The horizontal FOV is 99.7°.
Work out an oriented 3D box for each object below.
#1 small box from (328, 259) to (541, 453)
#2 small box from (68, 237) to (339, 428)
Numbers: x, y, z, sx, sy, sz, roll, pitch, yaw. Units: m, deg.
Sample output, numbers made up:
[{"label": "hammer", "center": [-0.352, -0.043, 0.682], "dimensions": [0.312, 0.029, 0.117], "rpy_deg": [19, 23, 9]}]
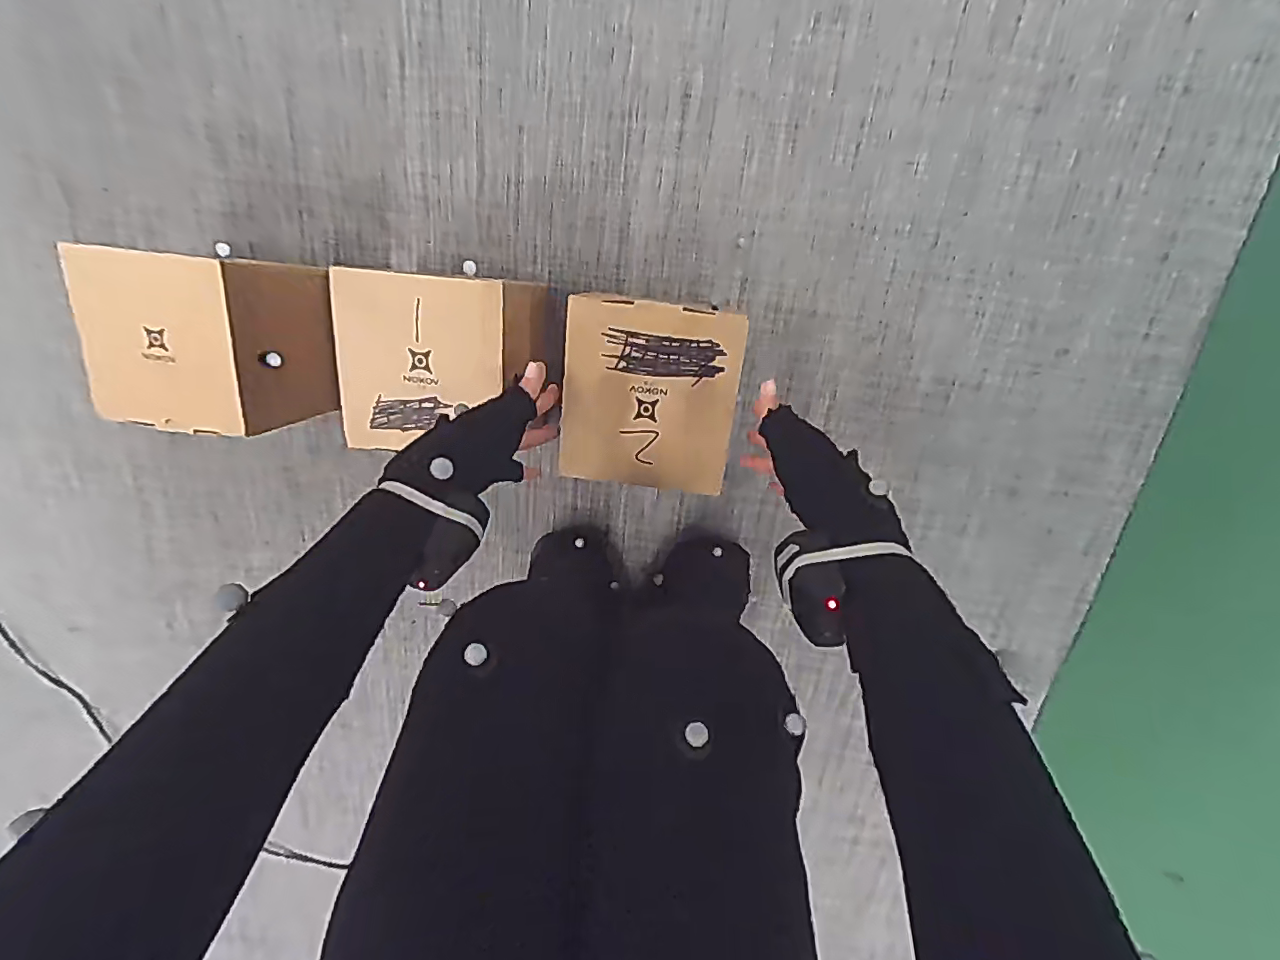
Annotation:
[{"label": "small box", "center": [-0.213, -0.144, 0.608], "dimensions": [0.168, 0.176, 0.179], "rpy_deg": [6, 109, 3]}, {"label": "small box", "center": [-0.478, -0.172, 0.625], "dimensions": [0.168, 0.176, 0.179], "rpy_deg": [7, 110, 3]}]
